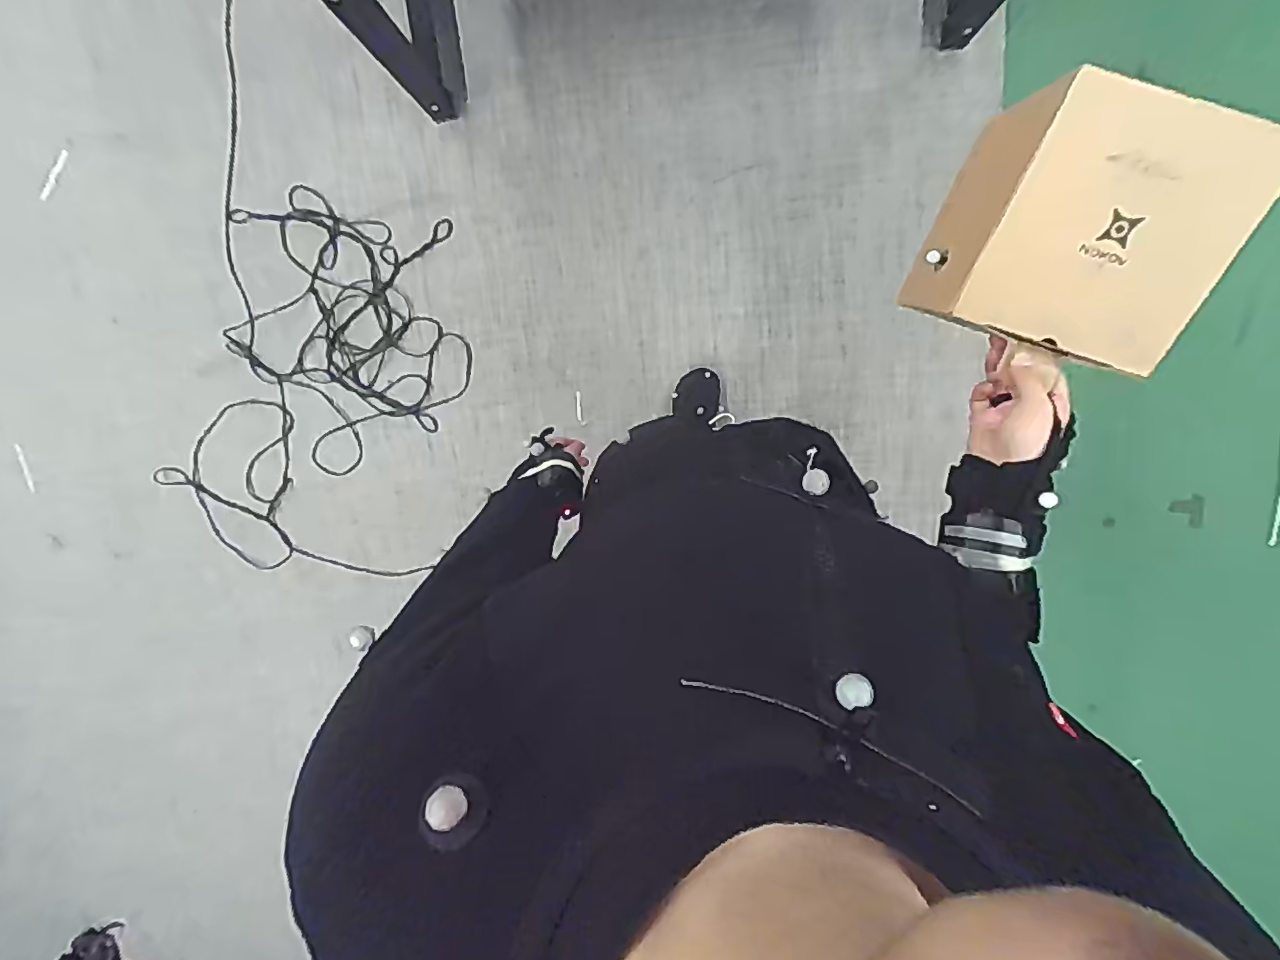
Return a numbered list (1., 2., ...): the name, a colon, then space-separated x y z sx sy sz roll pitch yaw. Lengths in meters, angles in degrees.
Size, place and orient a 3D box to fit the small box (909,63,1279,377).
1. small box: 0.363 -0.210 0.471 0.168 0.176 0.179 19 112 1
